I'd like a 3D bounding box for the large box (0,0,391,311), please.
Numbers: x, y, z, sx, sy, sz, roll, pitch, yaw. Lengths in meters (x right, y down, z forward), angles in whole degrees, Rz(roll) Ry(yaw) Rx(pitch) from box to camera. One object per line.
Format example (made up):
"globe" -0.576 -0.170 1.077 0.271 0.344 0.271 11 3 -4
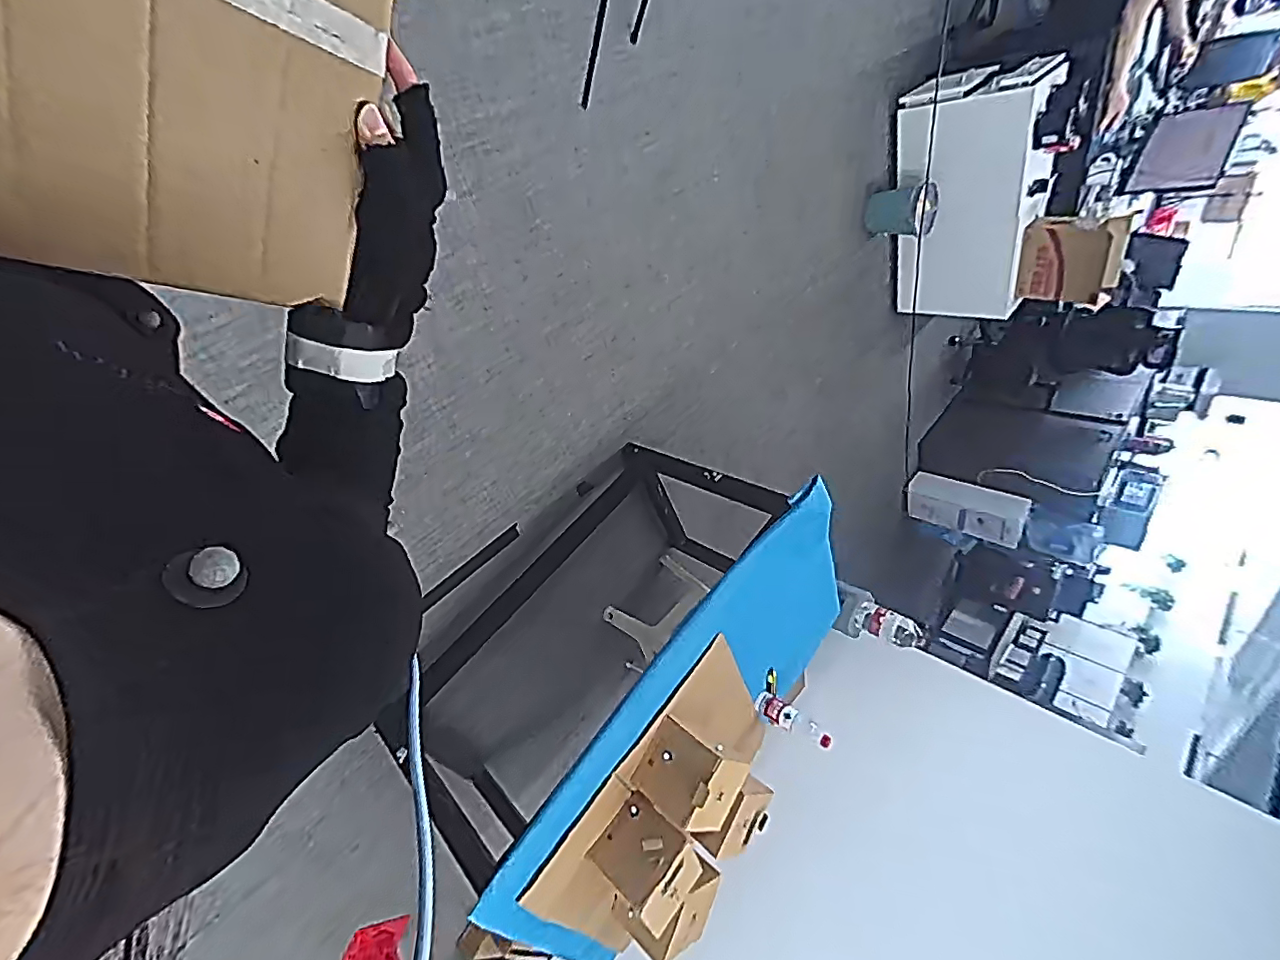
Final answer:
"large box" -0.390 -0.320 0.272 0.408 0.320 0.320 -3 127 -46
